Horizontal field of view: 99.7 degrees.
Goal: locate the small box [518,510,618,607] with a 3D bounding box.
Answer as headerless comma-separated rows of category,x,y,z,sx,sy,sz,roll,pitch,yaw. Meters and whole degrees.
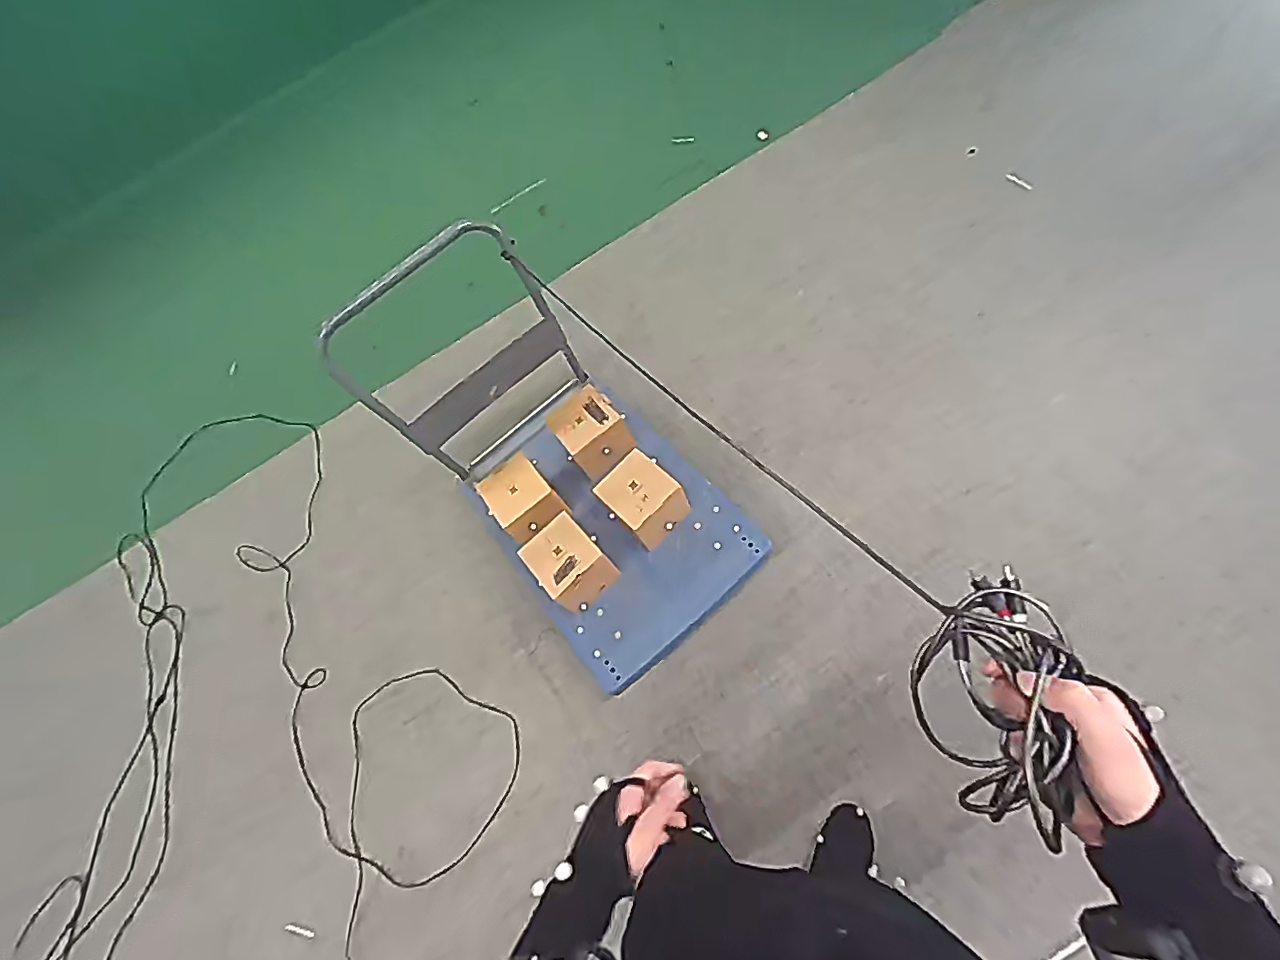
small box,-0.183,0.215,1.426,0.168,0.176,0.179,-42,60,-8

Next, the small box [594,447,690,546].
small box,0.010,0.050,1.453,0.168,0.176,0.179,-44,61,-7

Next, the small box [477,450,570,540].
small box,-0.326,0.052,1.548,0.168,0.176,0.179,-39,60,-5
